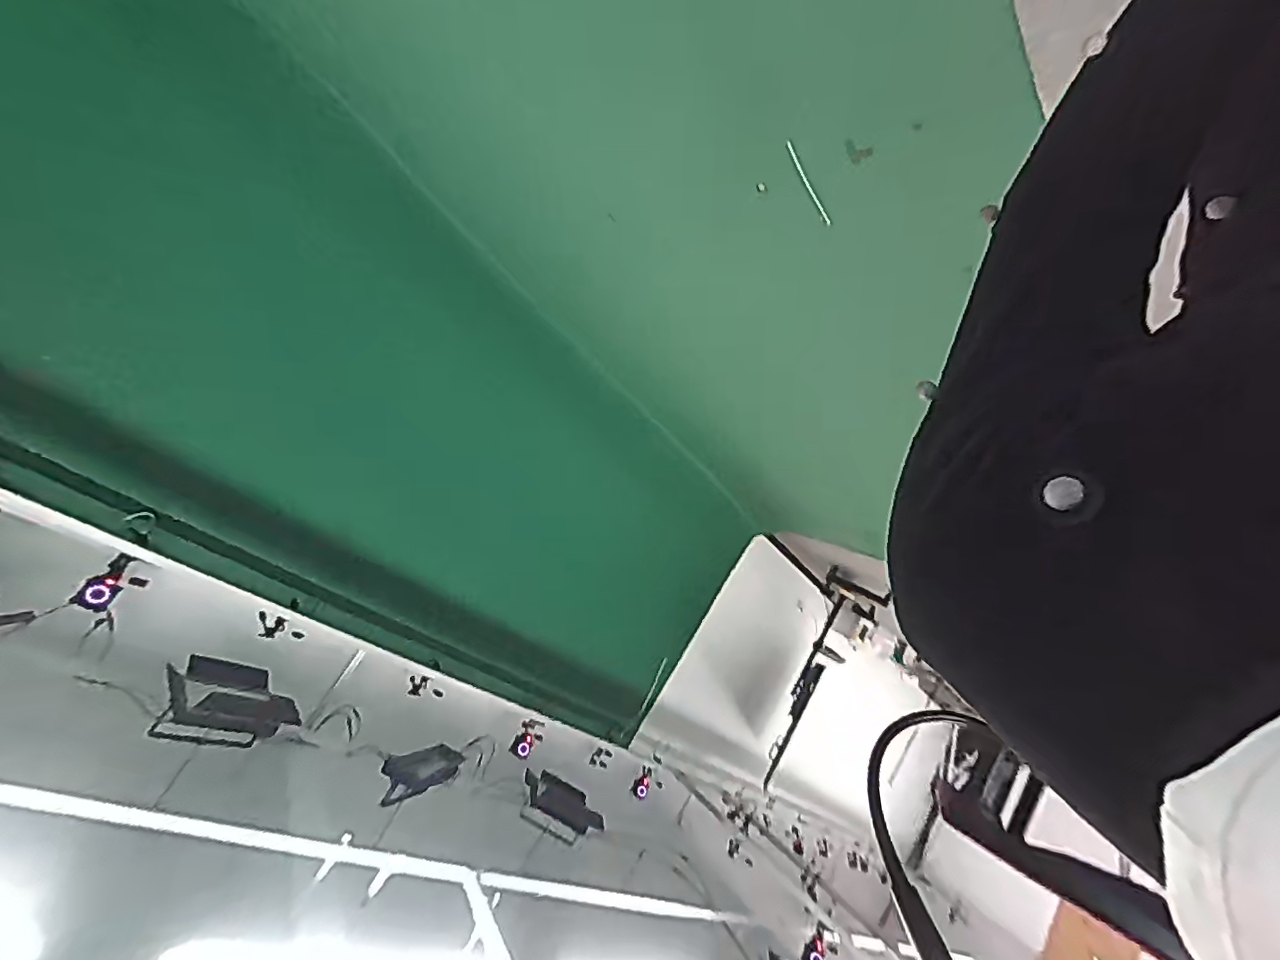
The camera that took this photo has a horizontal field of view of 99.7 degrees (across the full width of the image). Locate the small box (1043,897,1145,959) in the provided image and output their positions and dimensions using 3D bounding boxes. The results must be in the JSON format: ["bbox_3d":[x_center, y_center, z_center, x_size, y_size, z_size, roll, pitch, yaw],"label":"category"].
[{"bbox_3d":[1.208,1.251,1.438,0.179,0.176,0.168,40,166,-37],"label":"small box"}]

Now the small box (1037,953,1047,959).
[{"bbox_3d":[1.119,1.383,1.400,0.168,0.176,0.179,40,167,-33],"label":"small box"}]
